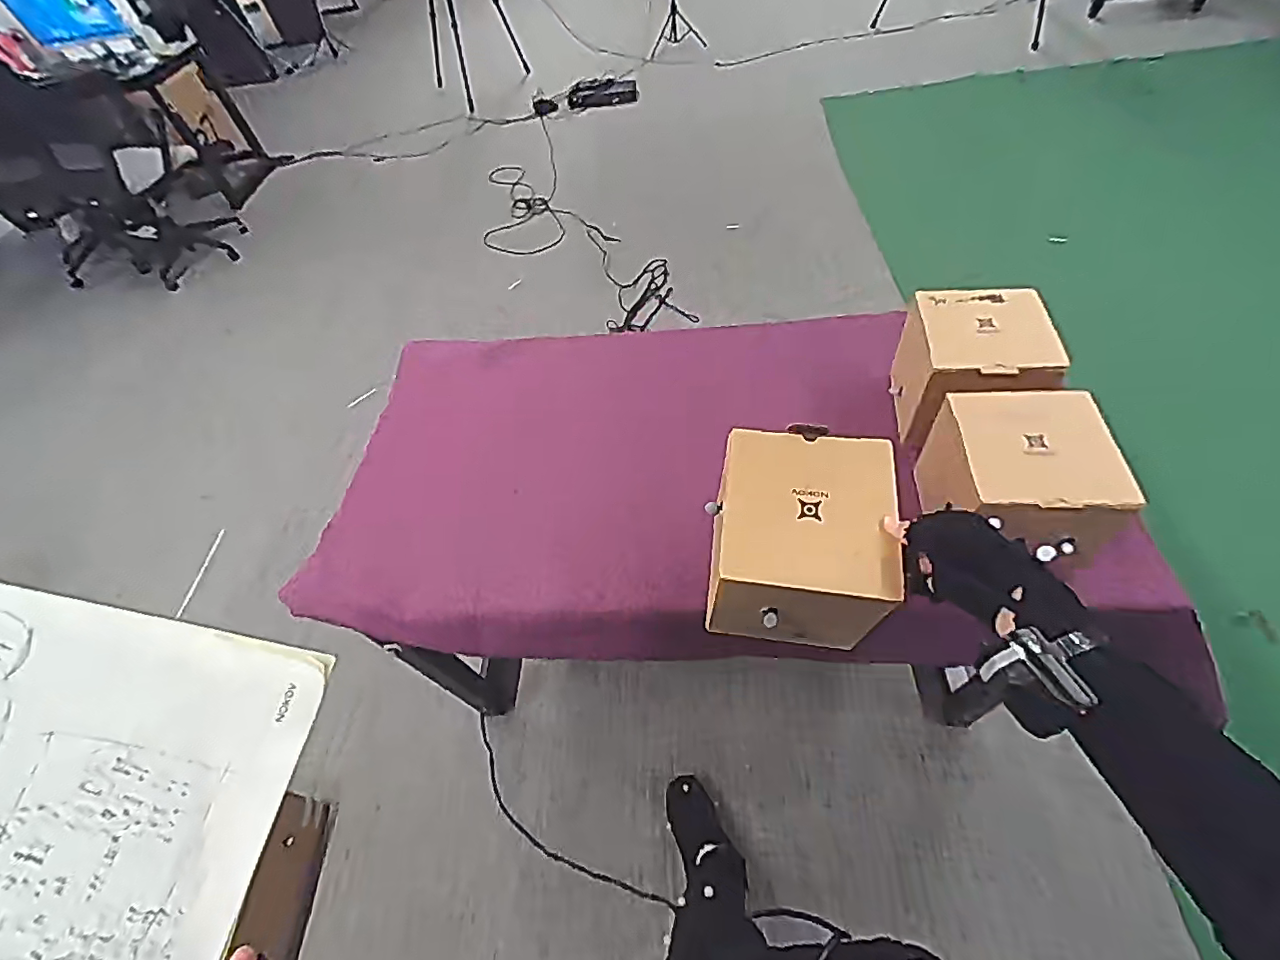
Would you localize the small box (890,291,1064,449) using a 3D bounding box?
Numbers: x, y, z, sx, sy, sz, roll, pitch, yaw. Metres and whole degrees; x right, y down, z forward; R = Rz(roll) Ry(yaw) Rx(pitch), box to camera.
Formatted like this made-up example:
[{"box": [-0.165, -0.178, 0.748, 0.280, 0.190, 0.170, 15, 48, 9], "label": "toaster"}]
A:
[{"box": [0.493, -0.162, 0.822, 0.168, 0.176, 0.179, 3, 55, 11], "label": "small box"}]

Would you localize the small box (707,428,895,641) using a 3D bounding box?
[{"box": [0.165, 0.066, 0.601, 0.168, 0.176, 0.179, 5, 57, 7], "label": "small box"}]
